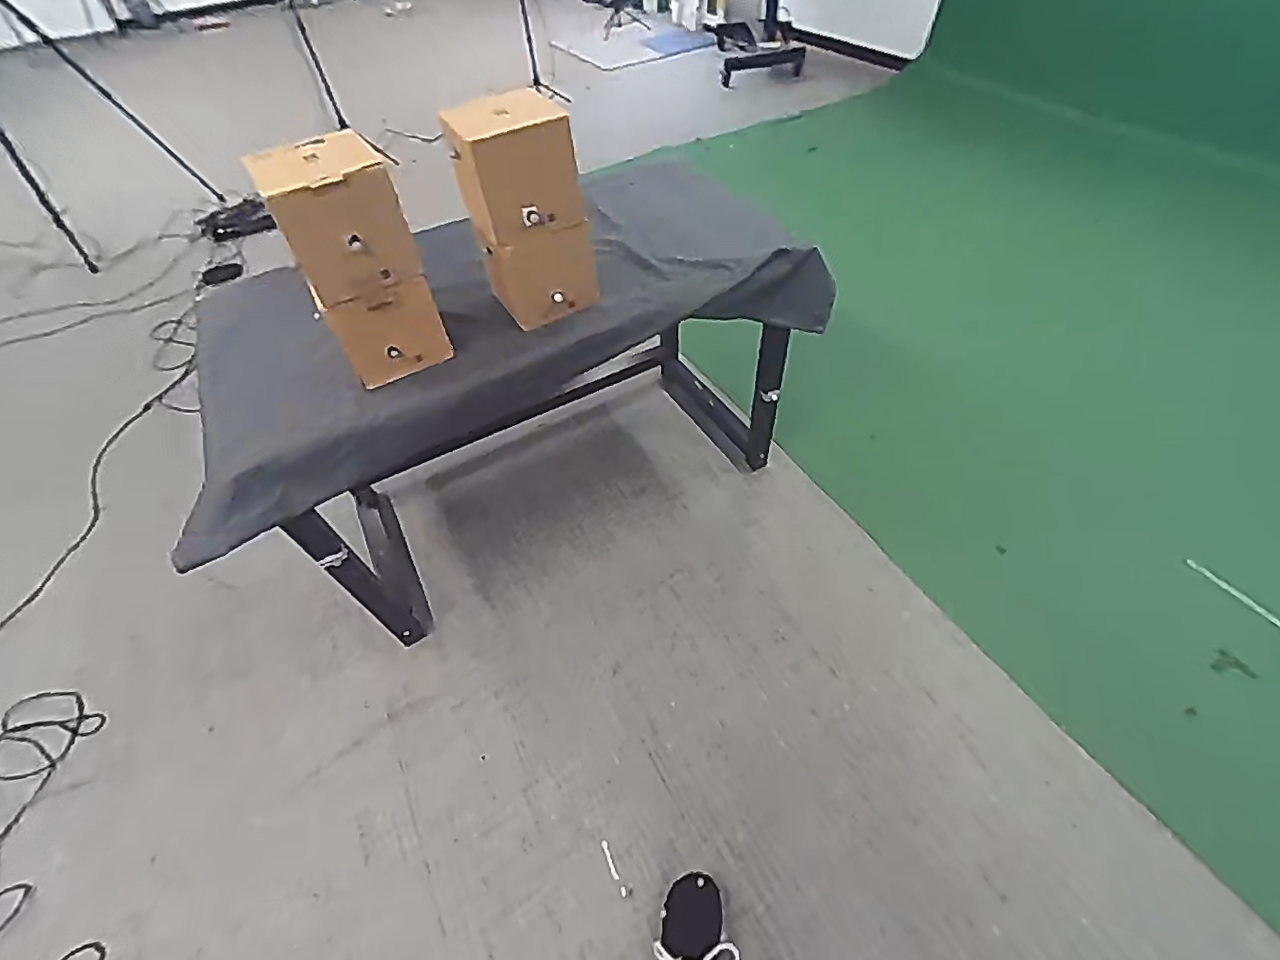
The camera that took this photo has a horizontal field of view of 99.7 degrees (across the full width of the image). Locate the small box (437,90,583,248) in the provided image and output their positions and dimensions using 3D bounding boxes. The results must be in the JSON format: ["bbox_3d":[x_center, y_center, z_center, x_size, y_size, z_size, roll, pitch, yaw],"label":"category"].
[{"bbox_3d":[-0.212,-0.519,0.905,0.168,0.176,0.179,-26,54,-15],"label":"small box"}]

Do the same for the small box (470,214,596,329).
[{"bbox_3d":[-0.199,-0.418,1.031,0.168,0.176,0.179,-27,54,-16],"label":"small box"}]

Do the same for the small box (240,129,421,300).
[{"bbox_3d":[-0.463,-0.398,0.827,0.168,0.176,0.179,-29,56,-19],"label":"small box"}]

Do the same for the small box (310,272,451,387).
[{"bbox_3d":[-0.460,-0.295,0.954,0.168,0.176,0.179,-28,55,-18],"label":"small box"}]
